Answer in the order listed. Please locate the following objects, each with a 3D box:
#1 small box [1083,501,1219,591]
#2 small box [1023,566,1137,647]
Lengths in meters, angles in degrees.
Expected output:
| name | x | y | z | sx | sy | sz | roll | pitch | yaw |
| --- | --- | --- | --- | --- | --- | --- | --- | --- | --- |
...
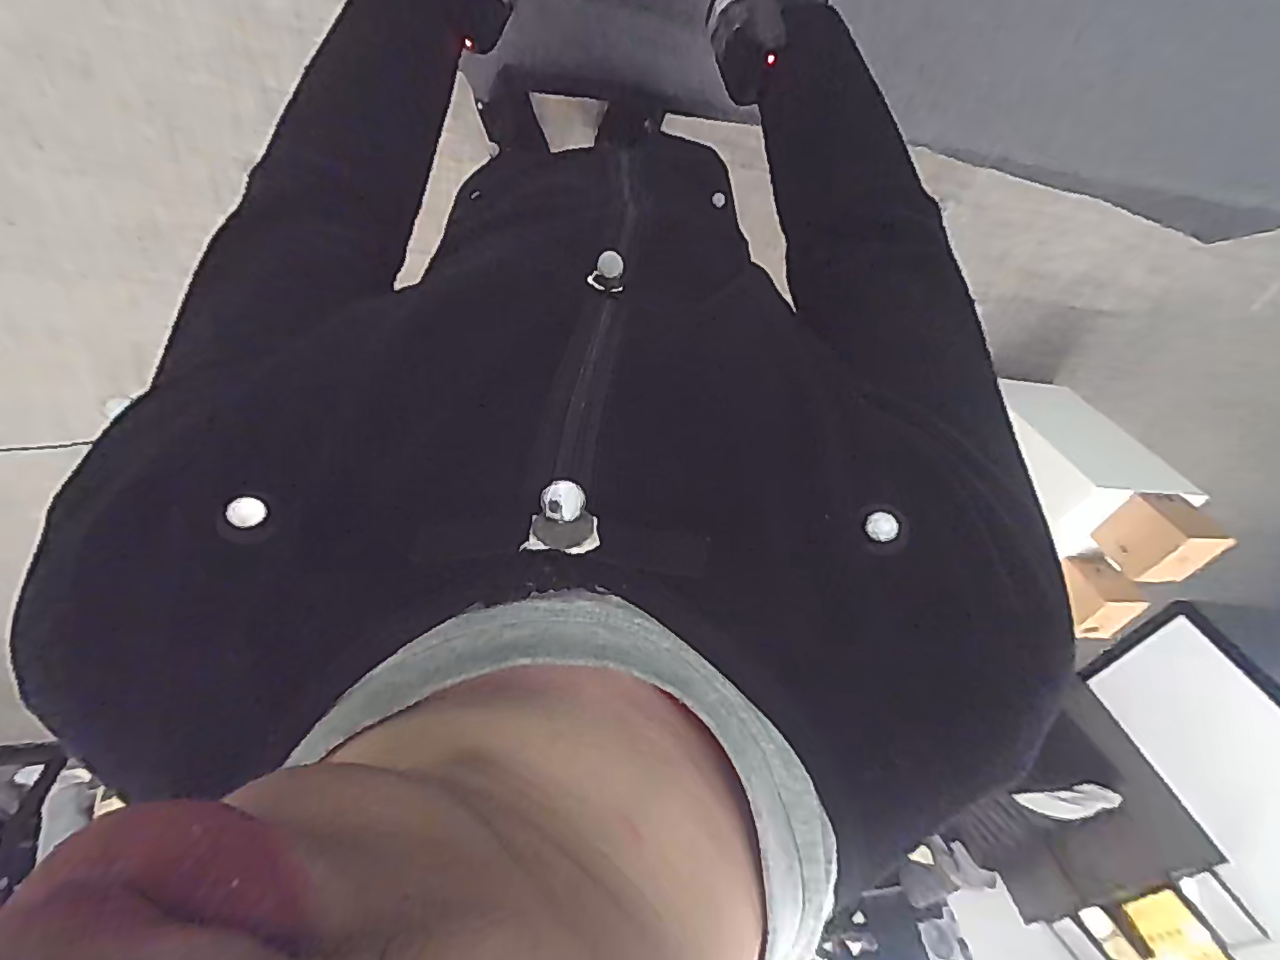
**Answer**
| name | x | y | z | sx | sy | sz | roll | pitch | yaw |
| --- | --- | --- | --- | --- | --- | --- | --- | --- | --- |
| small box | 1.356 | 0.178 | 1.456 | 0.168 | 0.176 | 0.179 | 1 | 131 | -14 |
| small box | 1.302 | 0.379 | 1.620 | 0.168 | 0.176 | 0.179 | 4 | 129 | -15 |
